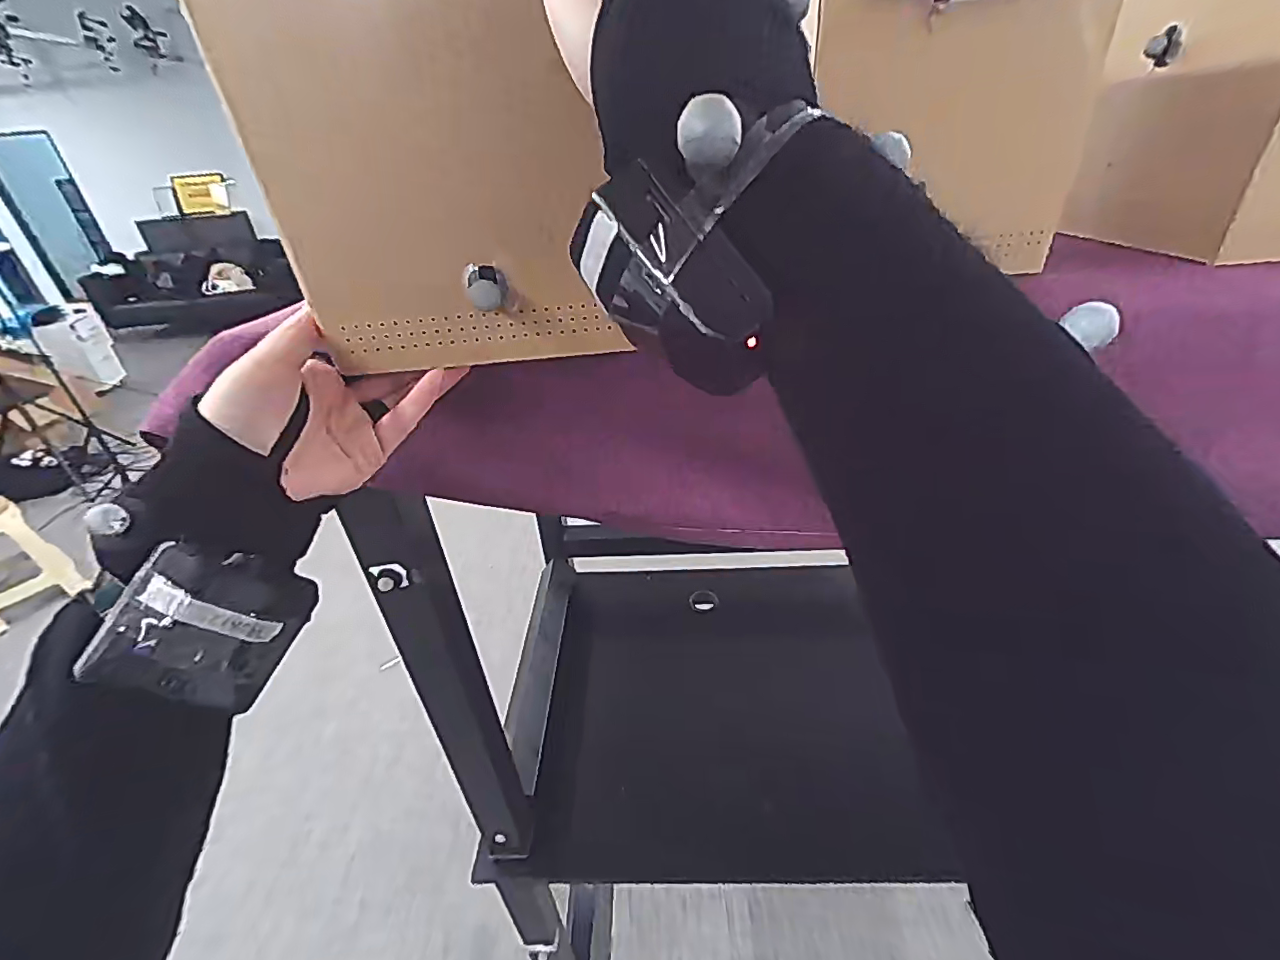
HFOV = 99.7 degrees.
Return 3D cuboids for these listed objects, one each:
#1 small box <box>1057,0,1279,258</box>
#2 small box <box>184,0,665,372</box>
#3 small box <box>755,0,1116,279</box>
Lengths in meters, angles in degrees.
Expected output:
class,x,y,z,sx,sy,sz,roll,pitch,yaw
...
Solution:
class,x,y,z,sx,sy,sz,roll,pitch,yaw
small box,0.441,-0.254,0.370,0.168,0.176,0.179,-4,32,2
small box,-0.084,-0.174,0.300,0.179,0.176,0.168,-6,37,-4
small box,0.181,-0.244,0.386,0.168,0.176,0.179,-3,31,1
